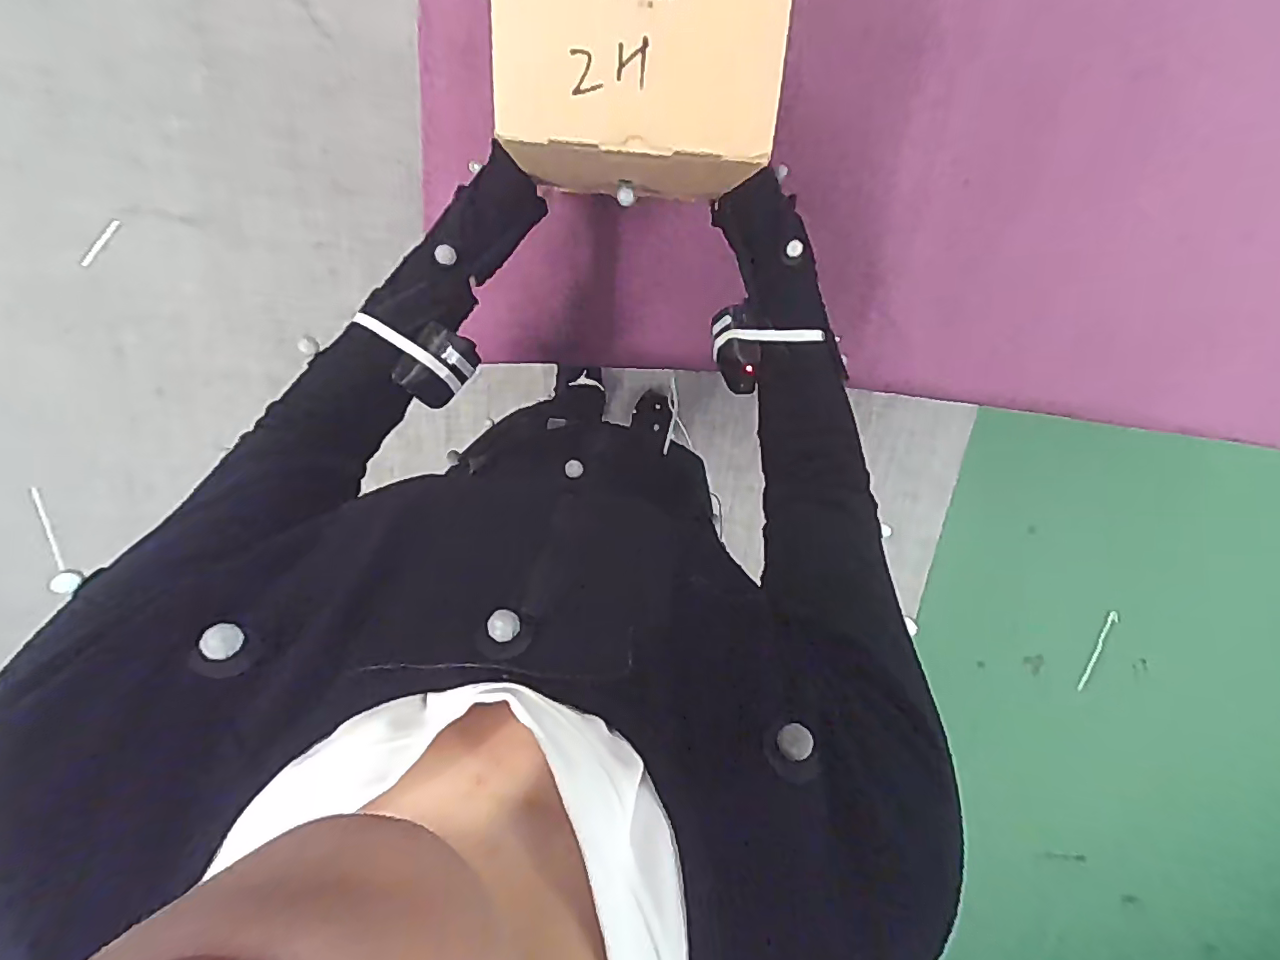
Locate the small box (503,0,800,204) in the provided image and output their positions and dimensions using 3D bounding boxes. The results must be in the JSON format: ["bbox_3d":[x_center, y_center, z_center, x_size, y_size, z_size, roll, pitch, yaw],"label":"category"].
[{"bbox_3d":[0.003,-0.301,0.367,0.168,0.176,0.179,3,111,-4],"label":"small box"}]

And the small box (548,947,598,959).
[{"bbox_3d":[-0.222,1.675,1.772,0.168,0.176,0.179,2,110,-5],"label":"small box"}]

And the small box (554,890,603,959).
[{"bbox_3d":[-0.222,1.613,1.943,0.168,0.176,0.179,-3,110,-5],"label":"small box"}]
